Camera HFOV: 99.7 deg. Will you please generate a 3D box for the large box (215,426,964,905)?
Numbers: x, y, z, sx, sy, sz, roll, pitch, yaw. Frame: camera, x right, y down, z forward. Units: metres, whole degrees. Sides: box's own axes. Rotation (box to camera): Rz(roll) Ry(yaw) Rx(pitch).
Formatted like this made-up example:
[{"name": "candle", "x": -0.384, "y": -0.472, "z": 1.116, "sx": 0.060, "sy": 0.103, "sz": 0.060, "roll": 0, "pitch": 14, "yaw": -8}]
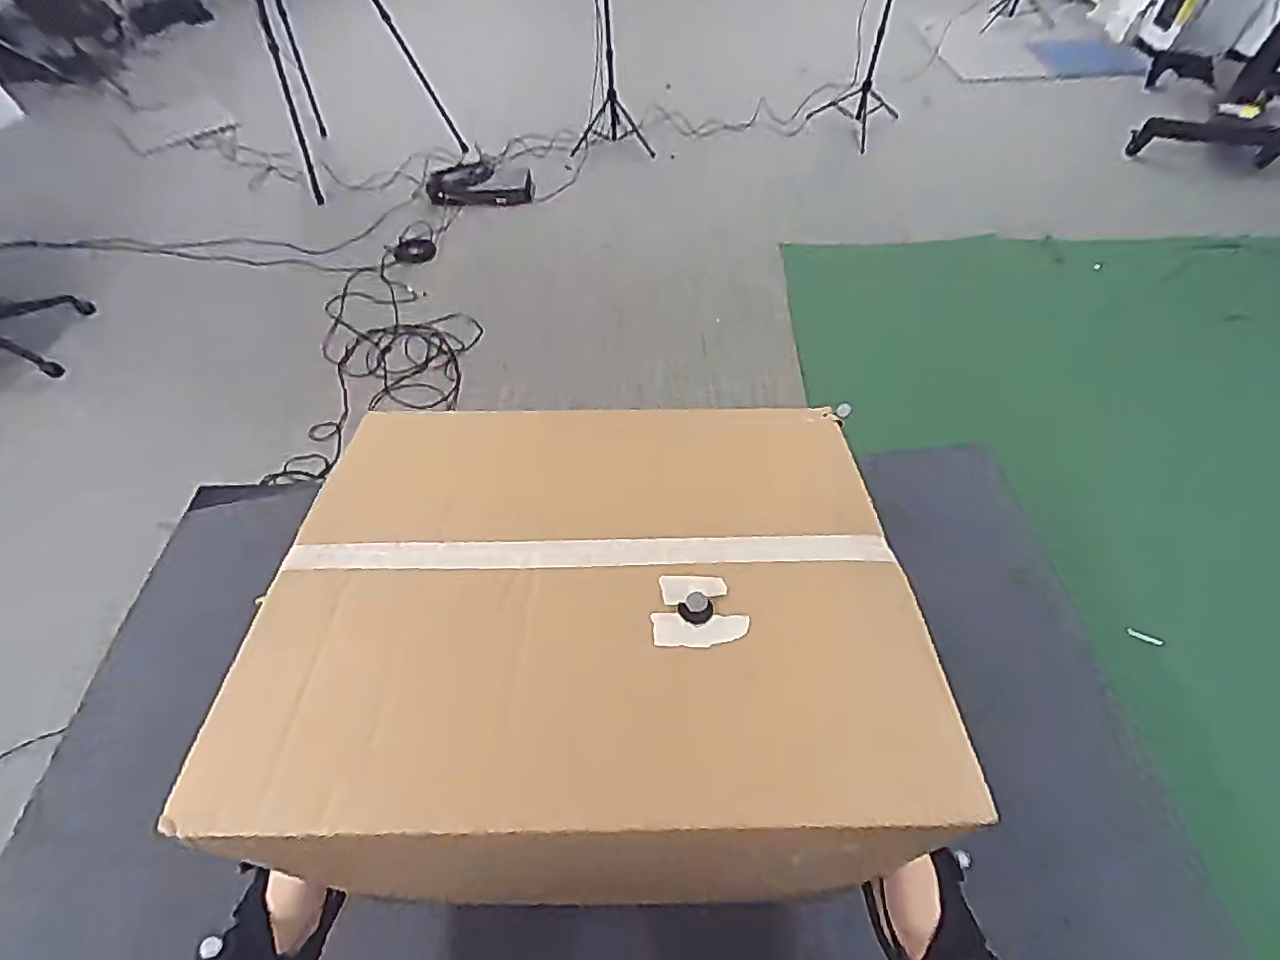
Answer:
[{"name": "large box", "x": -0.029, "y": 0.167, "z": 0.491, "sx": 0.408, "sy": 0.320, "sz": 0.320, "roll": 0, "pitch": 47, "yaw": -1}]
